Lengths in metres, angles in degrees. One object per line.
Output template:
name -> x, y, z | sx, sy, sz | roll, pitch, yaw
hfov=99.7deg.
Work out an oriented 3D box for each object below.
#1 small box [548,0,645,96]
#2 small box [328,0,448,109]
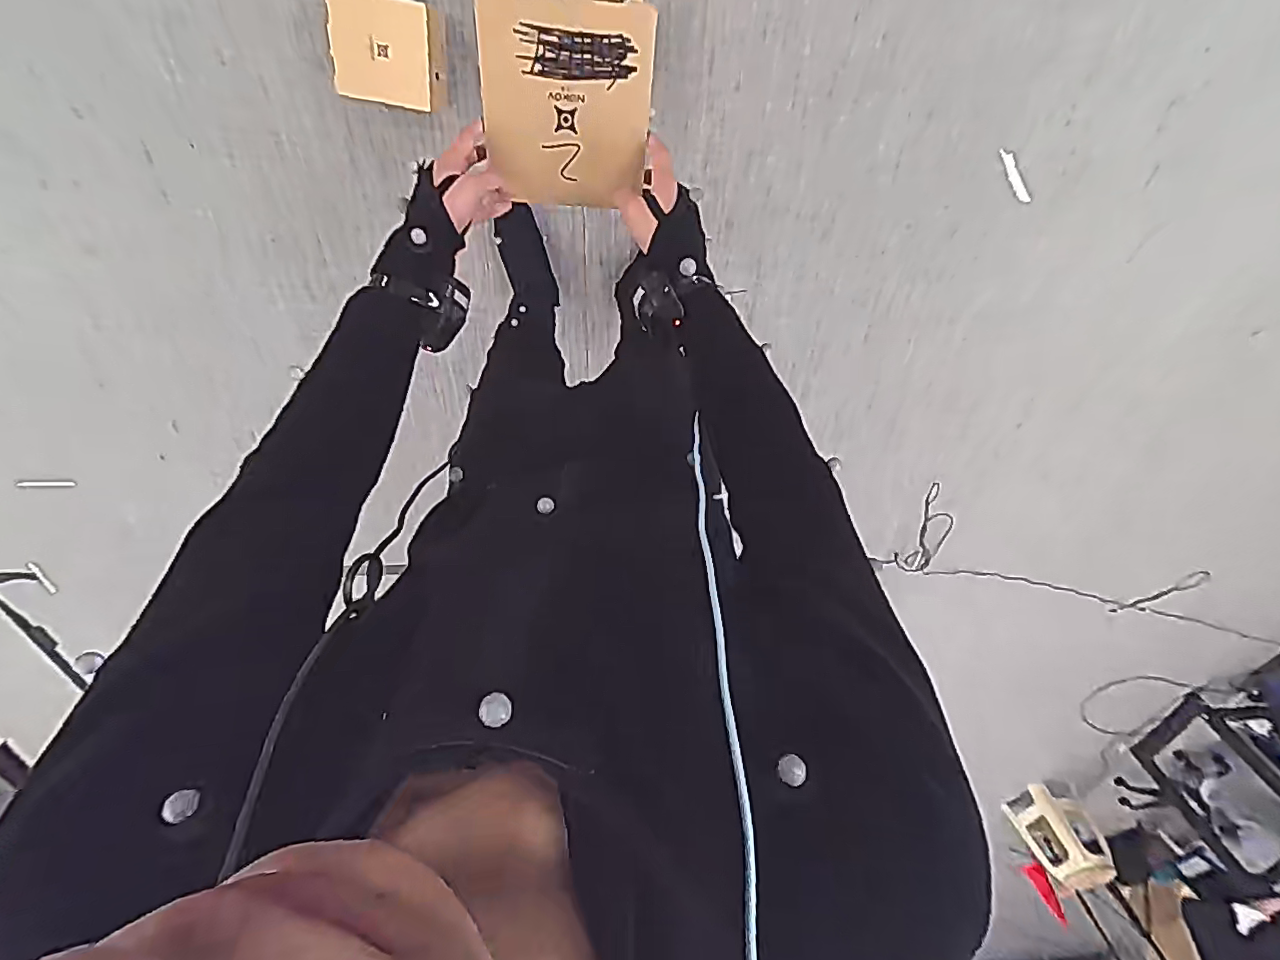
small box -> -0.085, -0.870, 1.077 | 0.179, 0.176, 0.168 | -3, 126, -5
small box -> -0.481, -0.846, 1.058 | 0.179, 0.176, 0.168 | 6, 125, -9
